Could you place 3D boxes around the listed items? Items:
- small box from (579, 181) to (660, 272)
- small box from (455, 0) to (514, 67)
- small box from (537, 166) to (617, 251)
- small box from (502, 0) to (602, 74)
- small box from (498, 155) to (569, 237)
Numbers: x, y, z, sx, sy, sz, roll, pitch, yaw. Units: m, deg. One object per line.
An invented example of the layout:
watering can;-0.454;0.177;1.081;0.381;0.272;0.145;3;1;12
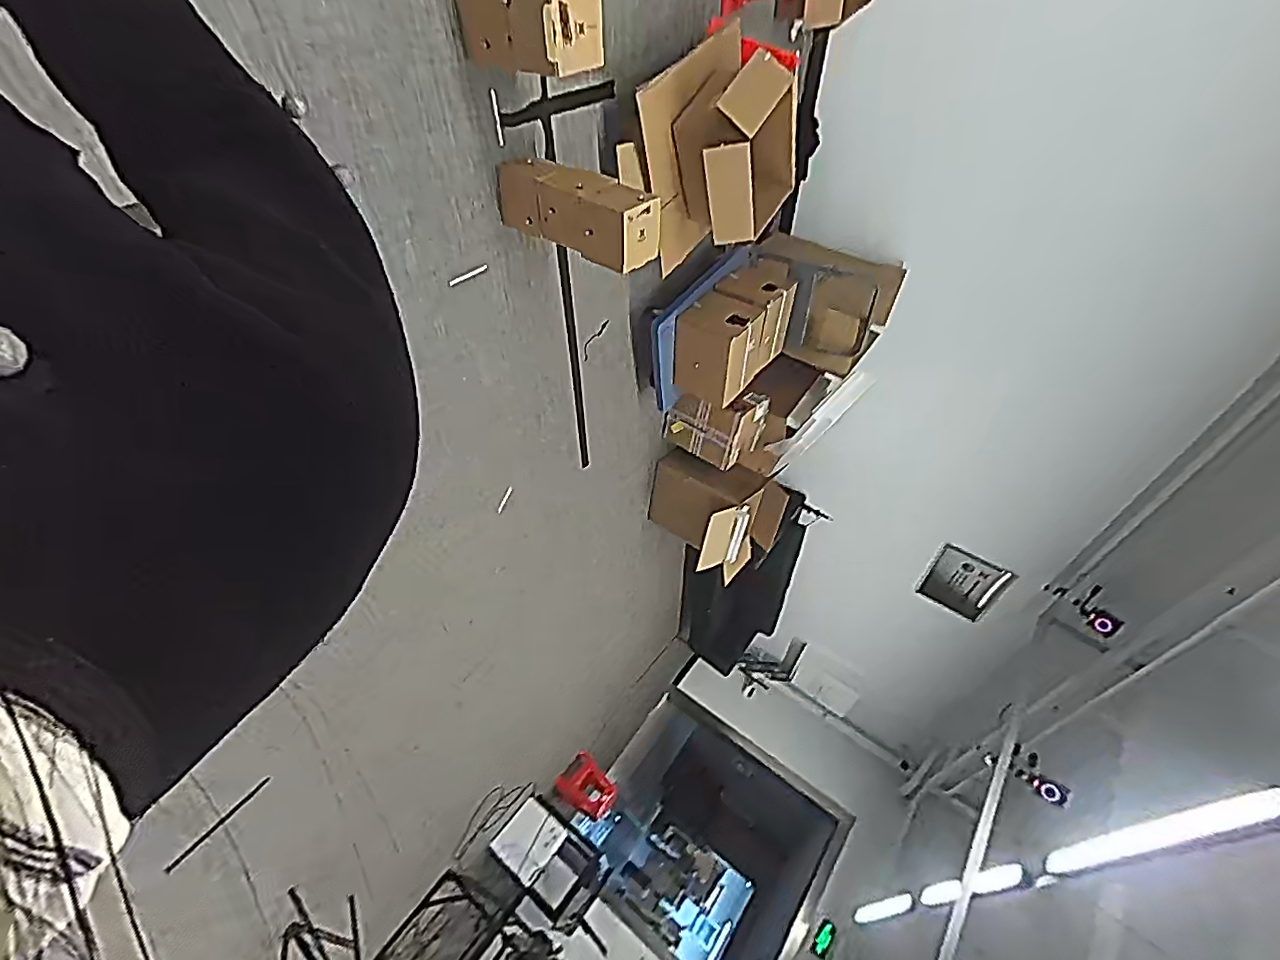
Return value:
small box;-0.063;-0.739;1.571;0.168;0.176;0.179;-42;151;-34
small box;-0.343;-1.170;1.357;0.168;0.176;0.179;-46;151;-31
small box;-0.187;-0.826;1.634;0.179;0.176;0.168;-43;151;-32
small box;-0.213;-1.093;1.294;0.179;0.176;0.168;-45;151;-33
small box;-0.324;-0.892;1.694;0.168;0.176;0.179;-42;150;-36
